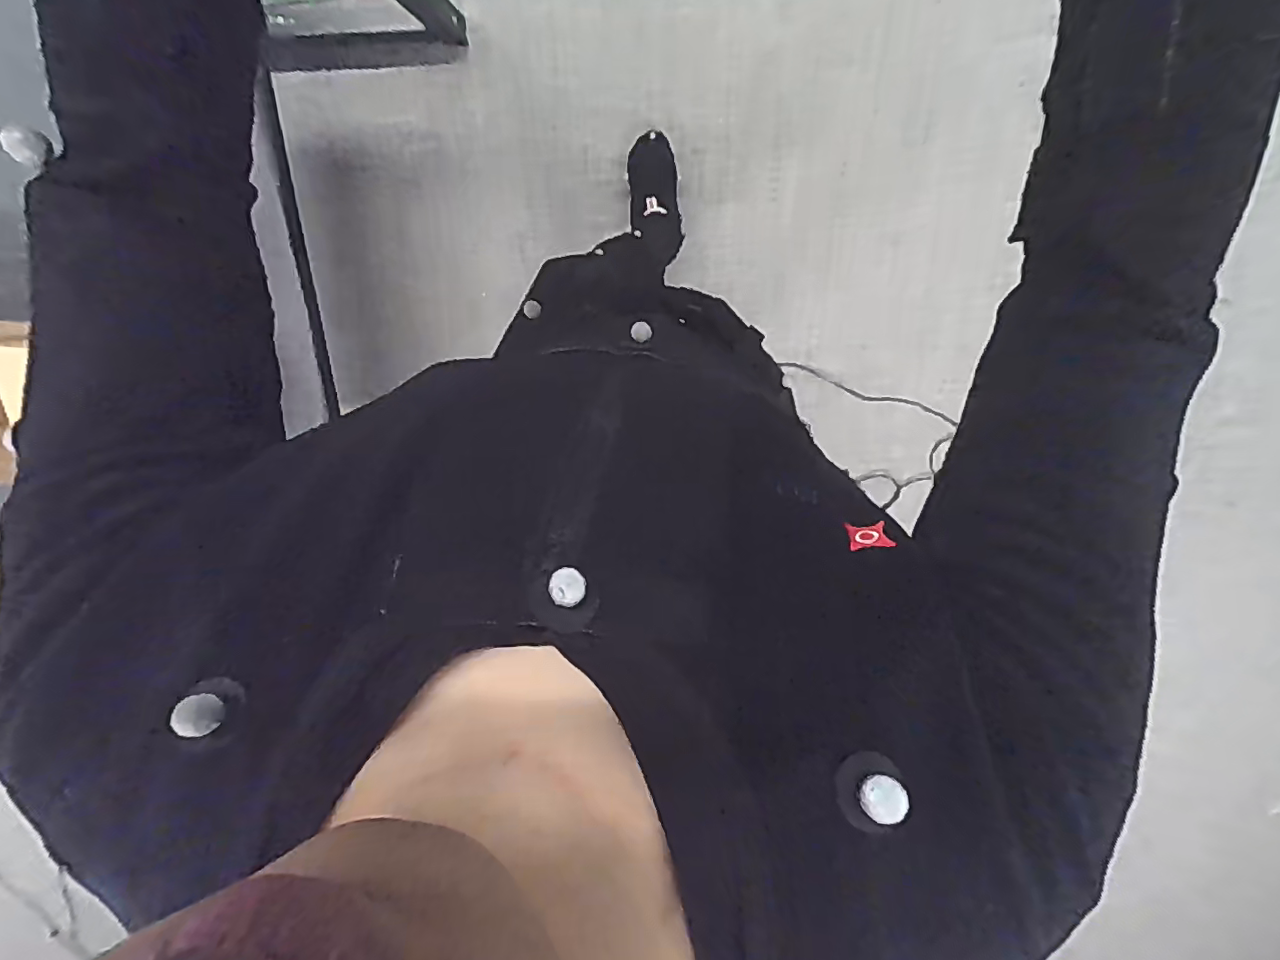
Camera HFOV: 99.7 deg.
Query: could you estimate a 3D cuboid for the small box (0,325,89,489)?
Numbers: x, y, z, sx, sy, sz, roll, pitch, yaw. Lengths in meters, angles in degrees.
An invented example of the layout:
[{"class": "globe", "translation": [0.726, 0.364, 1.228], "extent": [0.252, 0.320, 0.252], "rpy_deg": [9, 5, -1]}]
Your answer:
[{"class": "small box", "translation": [-0.816, -0.099, 0.672], "extent": [0.179, 0.176, 0.168], "rpy_deg": [4, 111, 4]}]
